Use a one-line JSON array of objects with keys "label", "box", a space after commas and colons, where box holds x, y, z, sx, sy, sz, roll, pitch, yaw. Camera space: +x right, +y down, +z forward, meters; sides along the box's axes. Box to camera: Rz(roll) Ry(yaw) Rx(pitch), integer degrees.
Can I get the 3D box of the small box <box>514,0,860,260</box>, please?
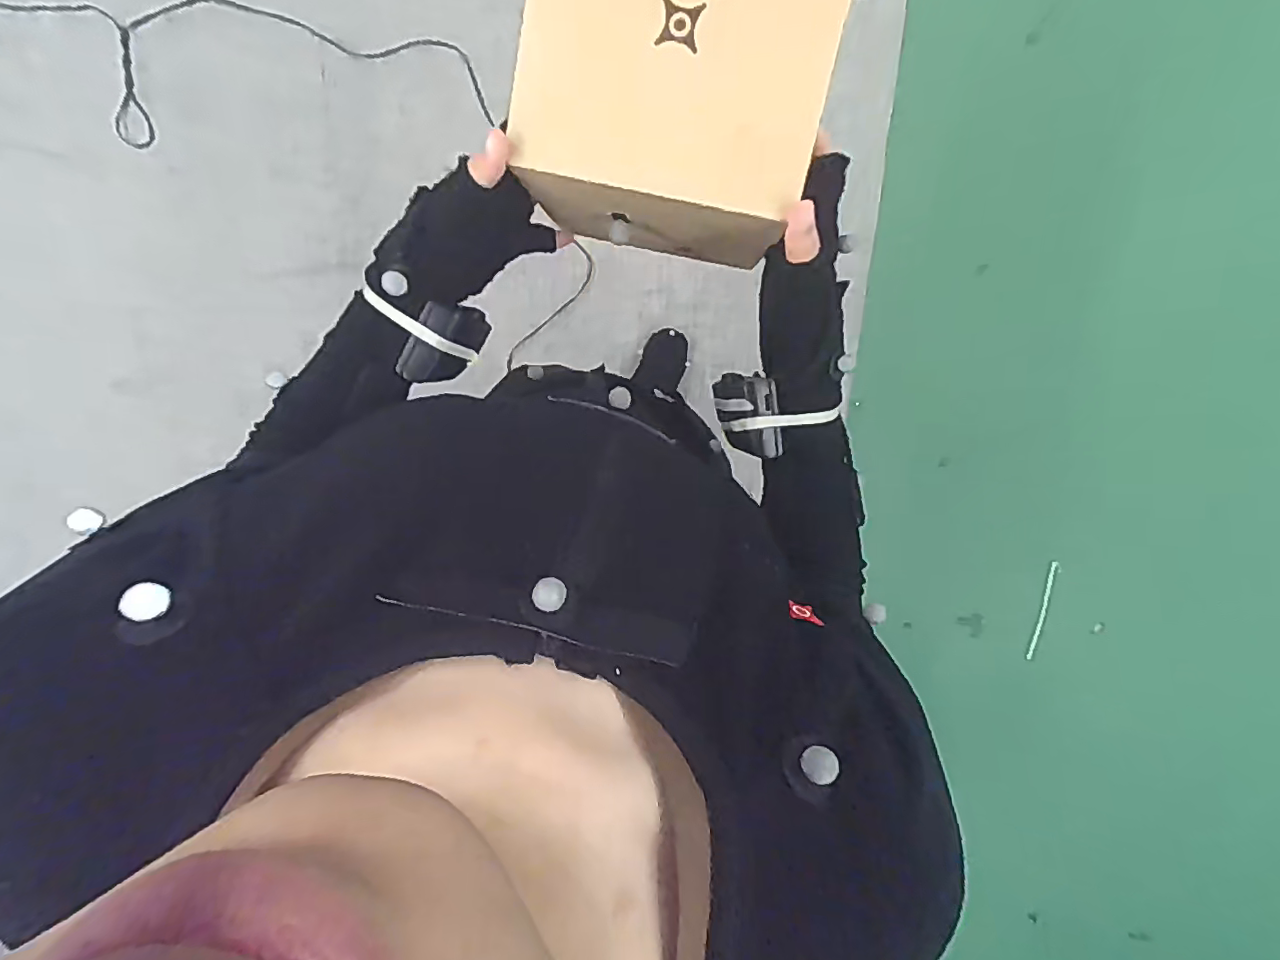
[{"label": "small box", "box": [0.033, -0.257, 0.350, 0.168, 0.176, 0.179, 12, 102, 1]}]
